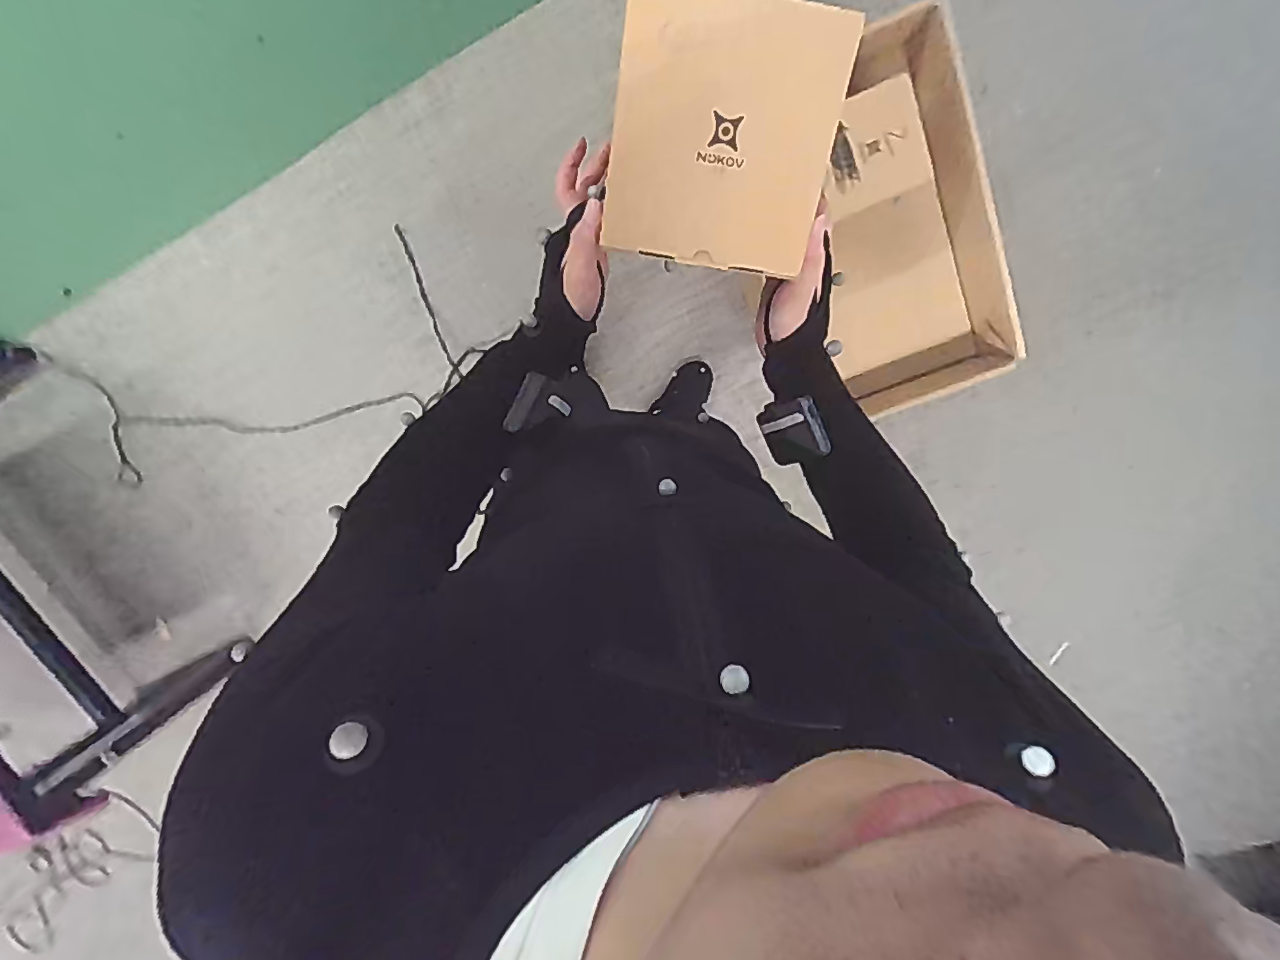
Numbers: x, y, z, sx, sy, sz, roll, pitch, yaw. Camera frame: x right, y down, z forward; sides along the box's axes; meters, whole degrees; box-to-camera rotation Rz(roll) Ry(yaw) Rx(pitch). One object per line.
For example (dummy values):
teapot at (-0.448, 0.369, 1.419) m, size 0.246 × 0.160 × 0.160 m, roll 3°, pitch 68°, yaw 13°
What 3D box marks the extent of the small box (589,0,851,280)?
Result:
small box at (0.047, -0.279, 0.461) m, size 0.168 × 0.176 × 0.179 m, roll 6°, pitch 115°, yaw -6°
